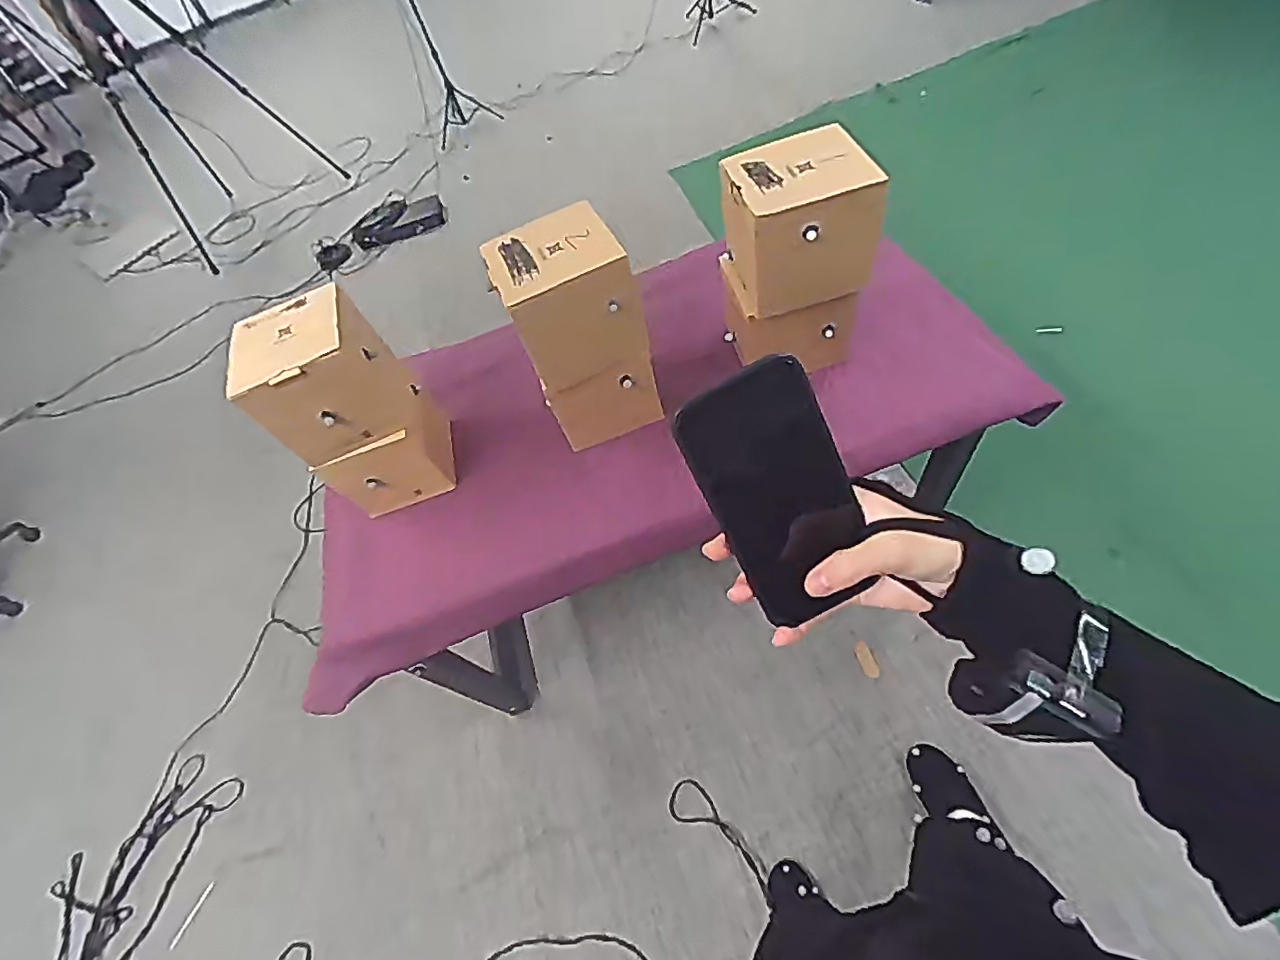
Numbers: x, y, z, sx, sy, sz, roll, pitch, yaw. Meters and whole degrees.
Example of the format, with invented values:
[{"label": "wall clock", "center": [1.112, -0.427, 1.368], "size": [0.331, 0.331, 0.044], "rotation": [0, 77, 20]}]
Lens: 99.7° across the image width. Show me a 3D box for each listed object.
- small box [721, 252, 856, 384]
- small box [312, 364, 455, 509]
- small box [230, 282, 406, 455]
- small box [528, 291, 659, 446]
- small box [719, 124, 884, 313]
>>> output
[{"label": "small box", "center": [0.249, -0.296, 0.934], "size": [0.179, 0.176, 0.168], "rotation": [-16, 55, 5]}, {"label": "small box", "center": [-0.446, -0.067, 0.962], "size": [0.168, 0.176, 0.179], "rotation": [-20, 55, 1]}, {"label": "small box", "center": [-0.482, -0.160, 0.831], "size": [0.168, 0.176, 0.179], "rotation": [-24, 56, -3]}, {"label": "small box", "center": [-0.074, -0.188, 0.945], "size": [0.179, 0.176, 0.168], "rotation": [-21, 55, 1]}, {"label": "small box", "center": [0.227, -0.373, 0.791], "size": [0.179, 0.176, 0.168], "rotation": [-15, 55, 4]}]
